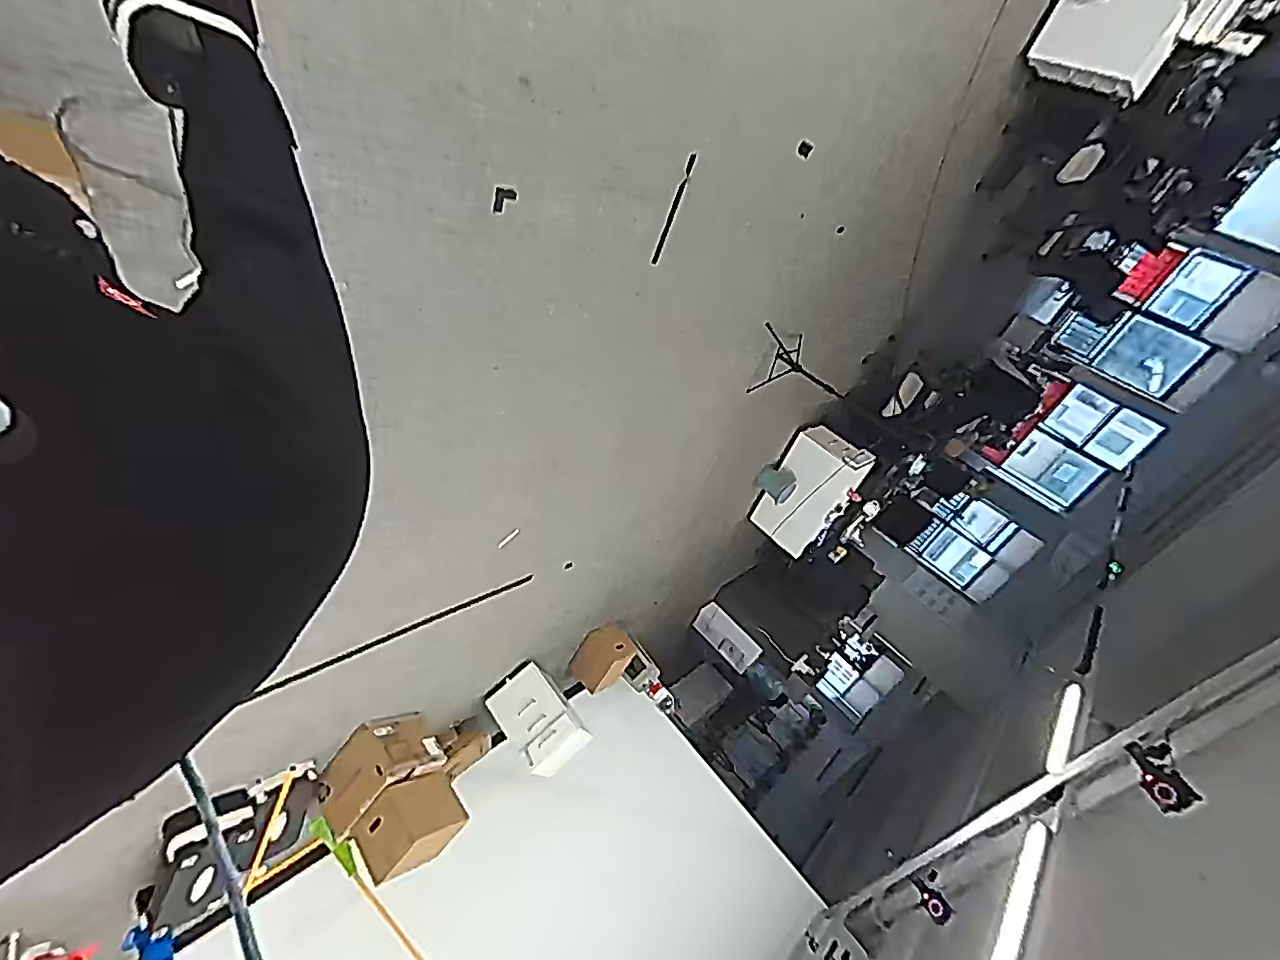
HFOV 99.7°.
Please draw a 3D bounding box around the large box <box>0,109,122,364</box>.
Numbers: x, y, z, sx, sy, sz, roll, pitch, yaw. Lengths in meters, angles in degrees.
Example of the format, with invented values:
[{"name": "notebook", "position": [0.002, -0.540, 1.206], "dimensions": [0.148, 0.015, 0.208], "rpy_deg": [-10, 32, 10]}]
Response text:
[{"name": "large box", "position": [-1.100, -0.375, 0.799], "dimensions": [0.408, 0.320, 0.320], "rpy_deg": [-18, 140, -45]}]
